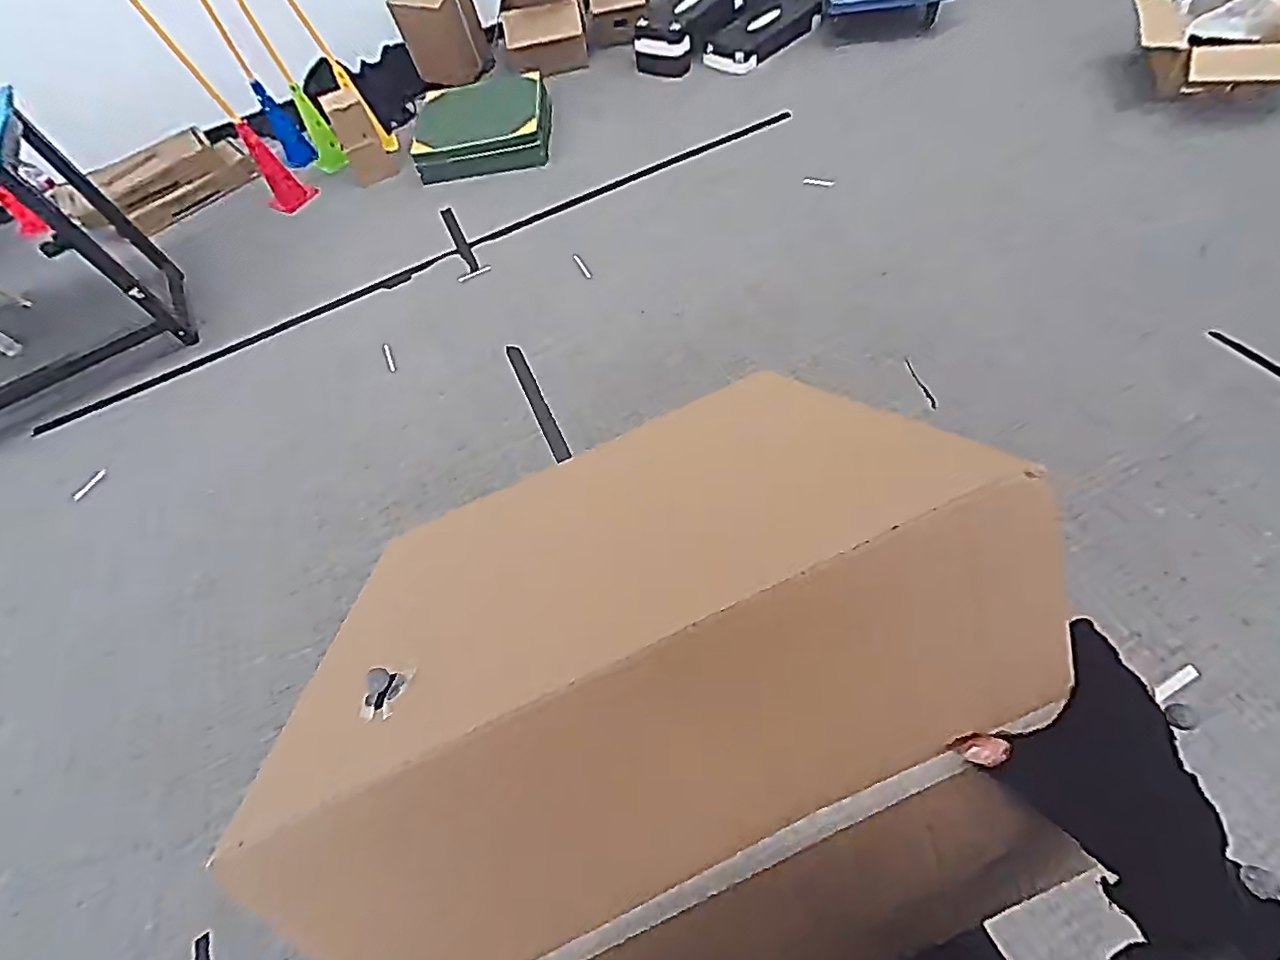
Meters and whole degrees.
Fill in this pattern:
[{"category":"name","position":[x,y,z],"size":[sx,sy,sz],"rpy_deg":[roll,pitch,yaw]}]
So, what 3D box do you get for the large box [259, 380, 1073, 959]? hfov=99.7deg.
[{"category":"large box","position":[0.029,0.156,0.446],"size":[0.408,0.320,0.320],"rpy_deg":[-25,22,-1]}]
